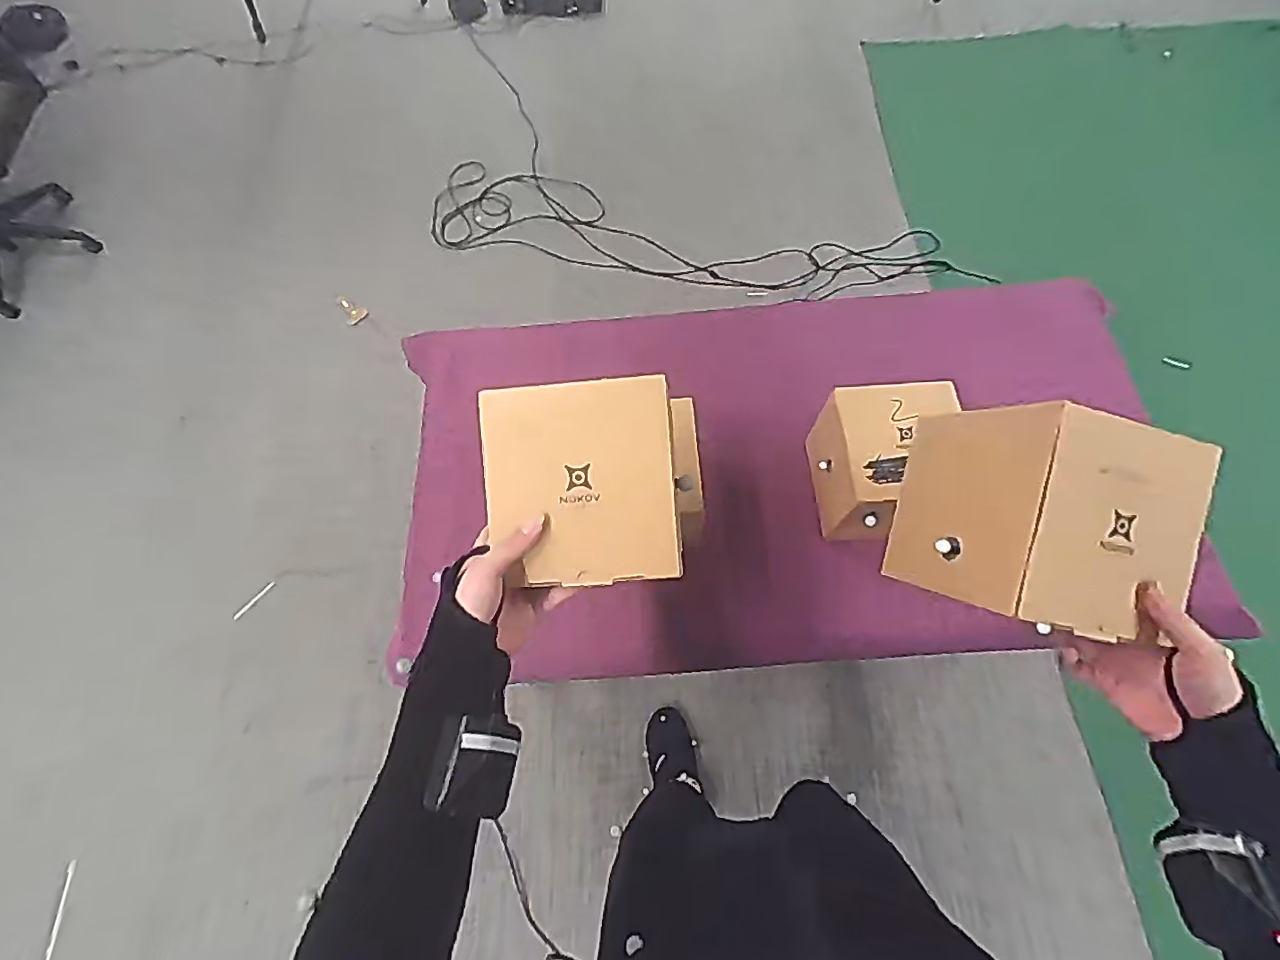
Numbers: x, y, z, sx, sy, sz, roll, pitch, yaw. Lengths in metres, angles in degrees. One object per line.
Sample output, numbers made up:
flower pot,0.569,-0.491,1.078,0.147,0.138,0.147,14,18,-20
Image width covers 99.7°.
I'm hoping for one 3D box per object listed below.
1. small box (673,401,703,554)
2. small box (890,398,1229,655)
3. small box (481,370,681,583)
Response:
small box,-0.001,0.004,0.787,0.168,0.176,0.179,-3,68,1
small box,0.364,0.037,0.501,0.168,0.176,0.179,13,89,-11
small box,-0.048,-0.001,0.537,0.168,0.176,0.179,-4,90,3
